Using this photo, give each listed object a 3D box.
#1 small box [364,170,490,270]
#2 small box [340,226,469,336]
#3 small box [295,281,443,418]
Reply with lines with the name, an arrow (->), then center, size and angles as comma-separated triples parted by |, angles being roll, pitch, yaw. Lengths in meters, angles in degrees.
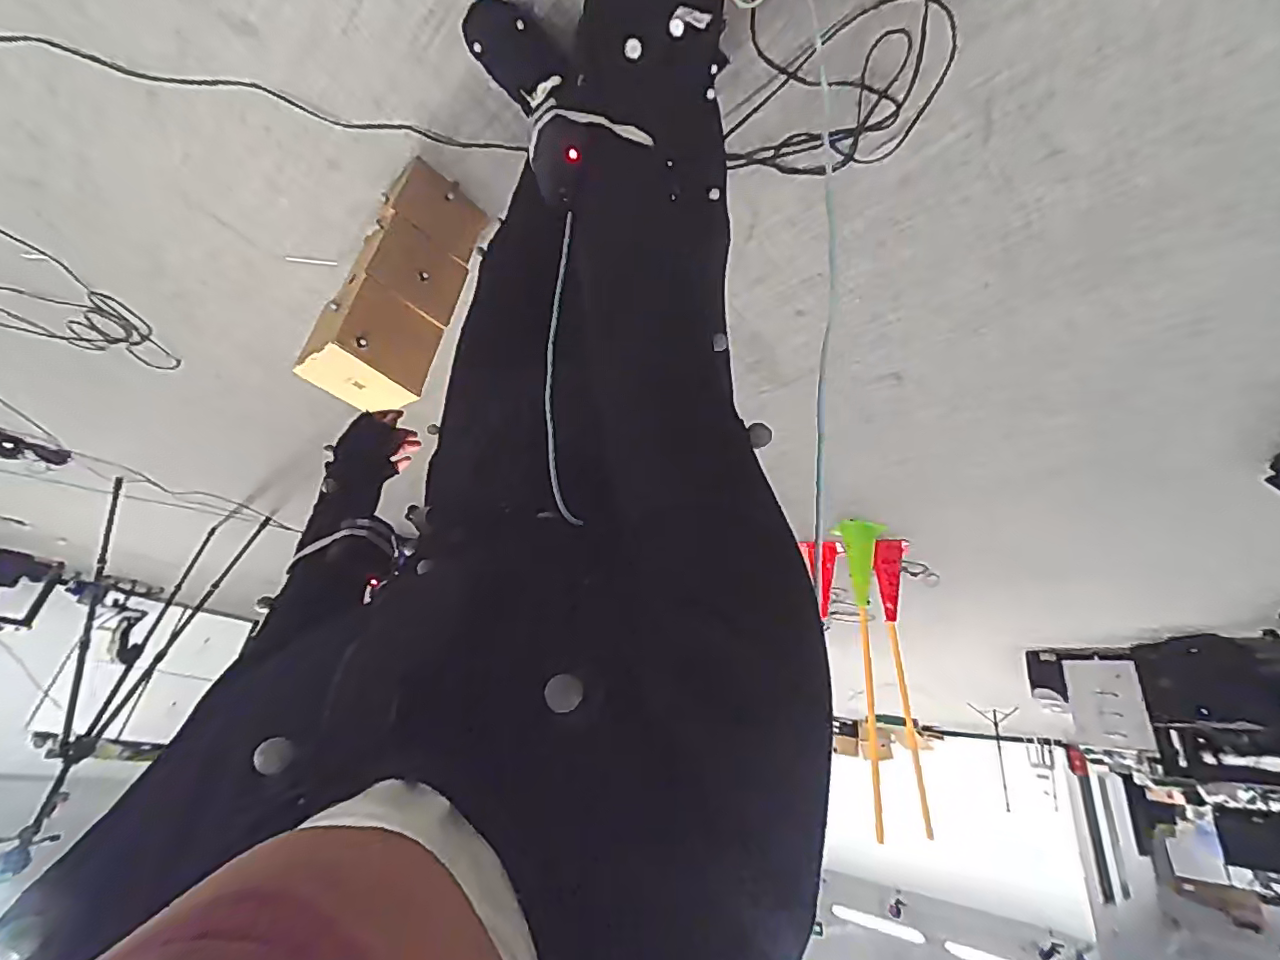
small box -> -0.466, -0.545, 1.194 | 0.168, 0.176, 0.179 | -14, 144, 44
small box -> -0.489, -0.395, 1.126 | 0.168, 0.176, 0.179 | -15, 146, 39
small box -> -0.519, -0.250, 1.057 | 0.168, 0.176, 0.179 | -12, 146, 35
